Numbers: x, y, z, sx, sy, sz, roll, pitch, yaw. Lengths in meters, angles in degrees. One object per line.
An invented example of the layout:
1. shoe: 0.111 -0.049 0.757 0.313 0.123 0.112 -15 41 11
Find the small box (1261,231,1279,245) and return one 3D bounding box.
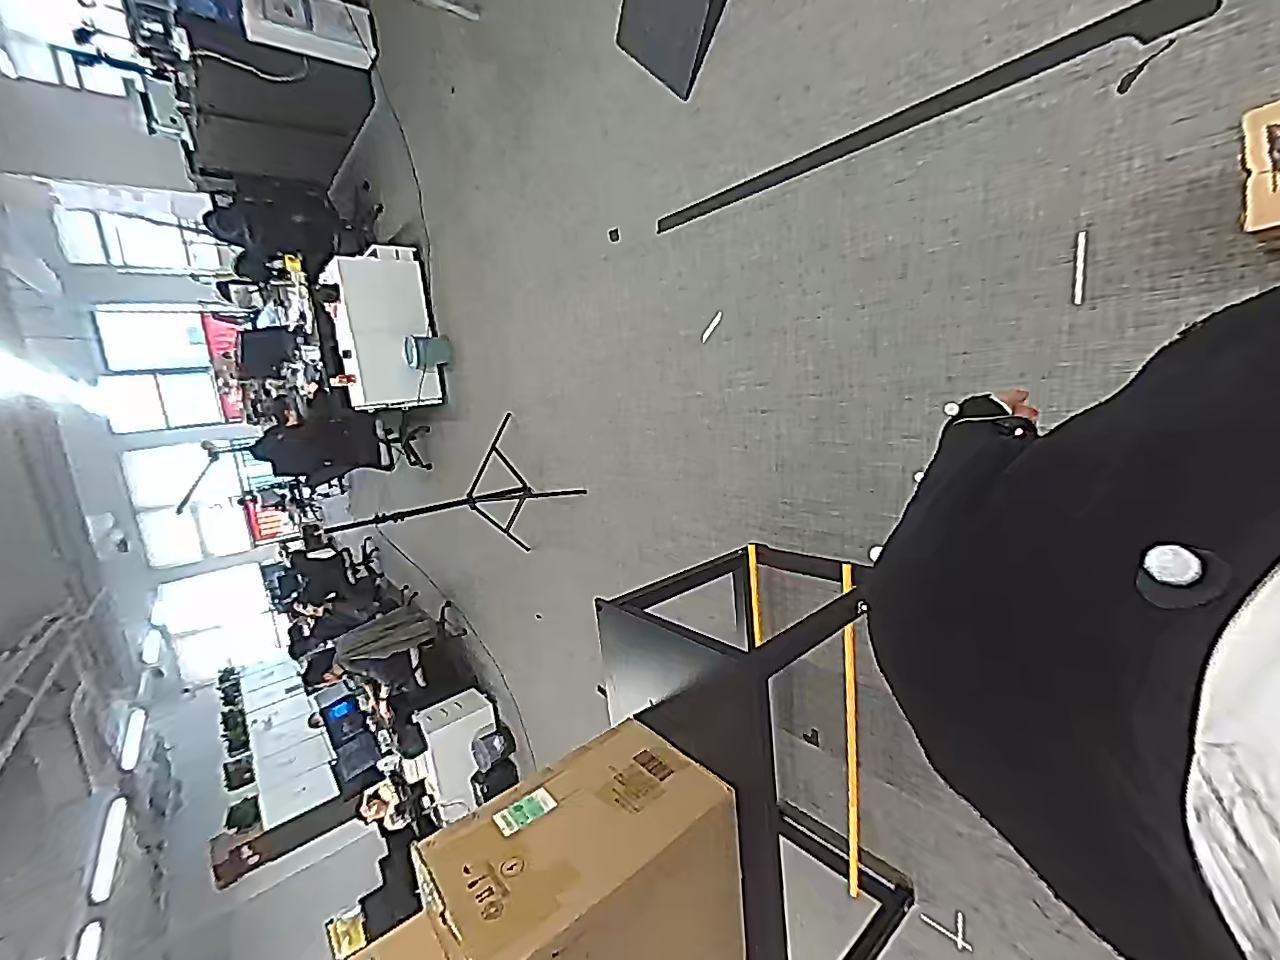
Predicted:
1. small box: 1.097 -0.482 0.844 0.168 0.176 0.179 -3 100 53

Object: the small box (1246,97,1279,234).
1. small box: 0.972 -0.451 0.740 0.179 0.176 0.168 0 102 52

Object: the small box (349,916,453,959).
1. small box: -0.466 1.036 1.085 0.179 0.176 0.168 4 105 53
